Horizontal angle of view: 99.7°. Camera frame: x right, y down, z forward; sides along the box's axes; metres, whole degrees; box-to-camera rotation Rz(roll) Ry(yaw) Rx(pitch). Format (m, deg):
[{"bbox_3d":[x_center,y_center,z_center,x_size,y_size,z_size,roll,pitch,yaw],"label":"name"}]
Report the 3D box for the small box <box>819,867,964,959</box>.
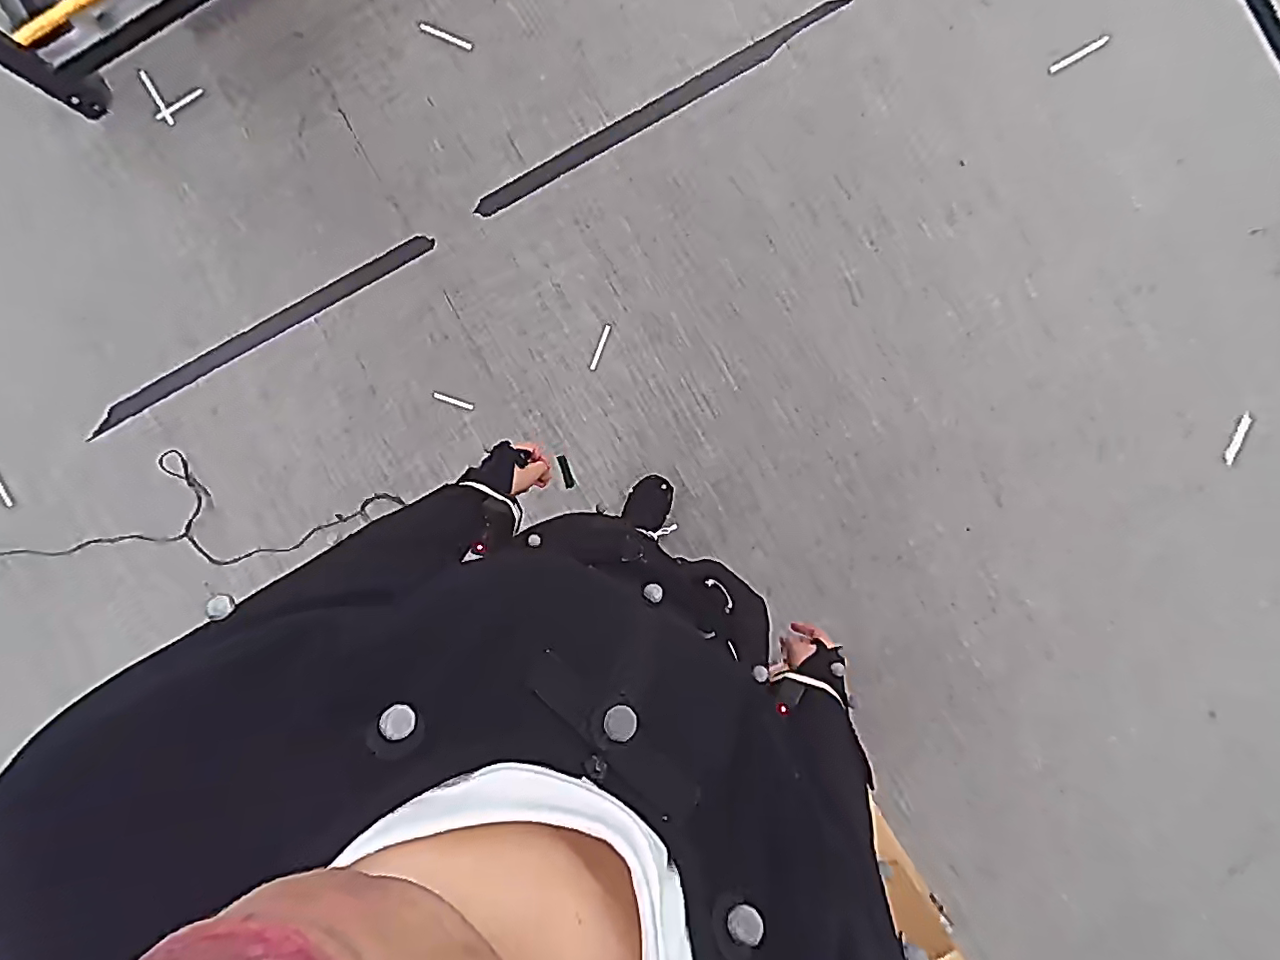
[{"bbox_3d":[0.390,0.741,0.808,0.179,0.176,0.168,-29,90,-1],"label":"small box"}]
